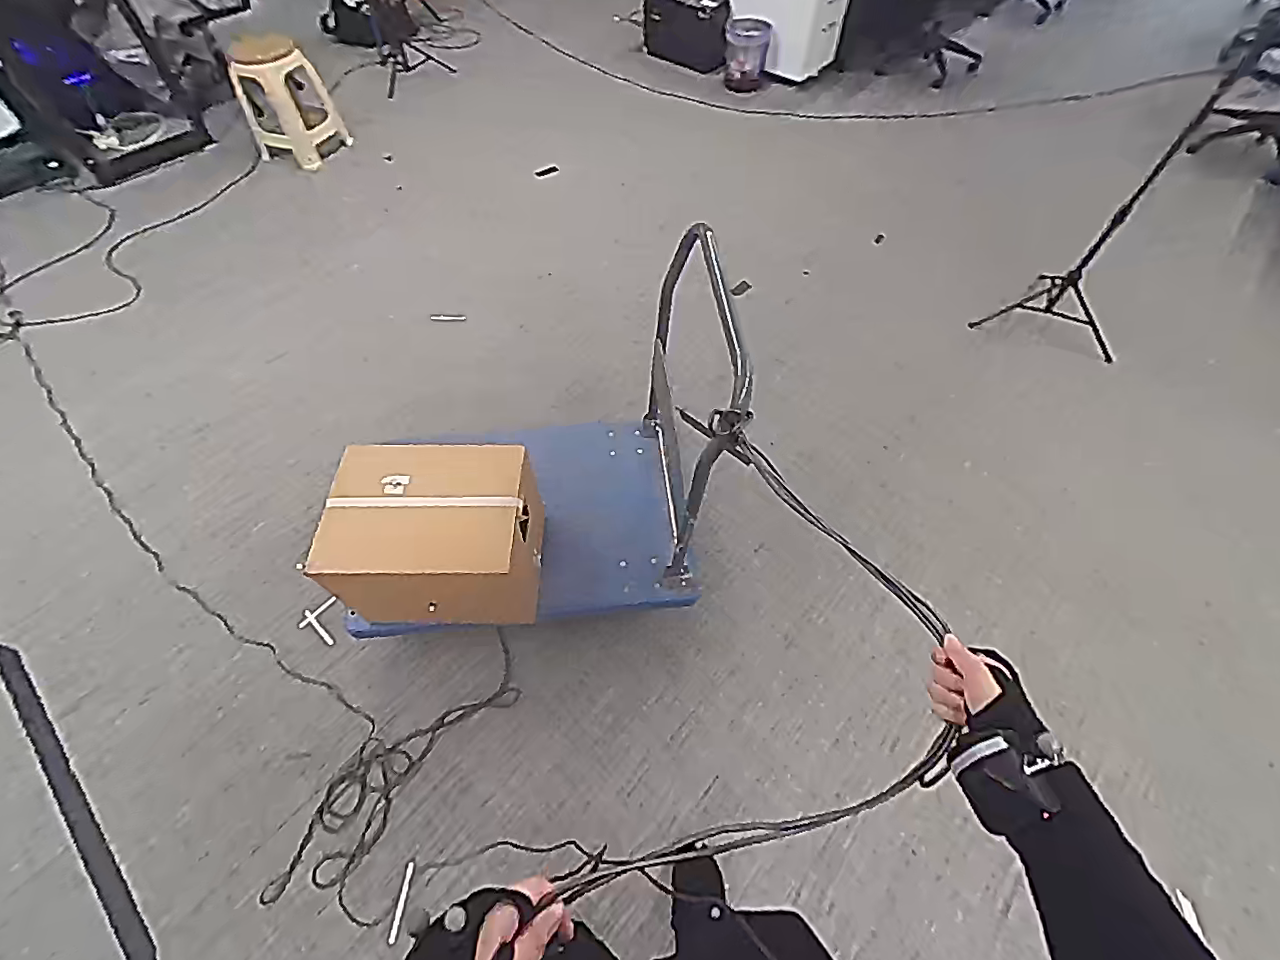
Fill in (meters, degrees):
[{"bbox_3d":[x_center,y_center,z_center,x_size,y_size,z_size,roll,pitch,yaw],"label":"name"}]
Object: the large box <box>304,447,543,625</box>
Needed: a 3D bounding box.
[{"bbox_3d":[-0.454,0.139,1.252,0.408,0.320,0.320,-1,57,0],"label":"large box"}]
